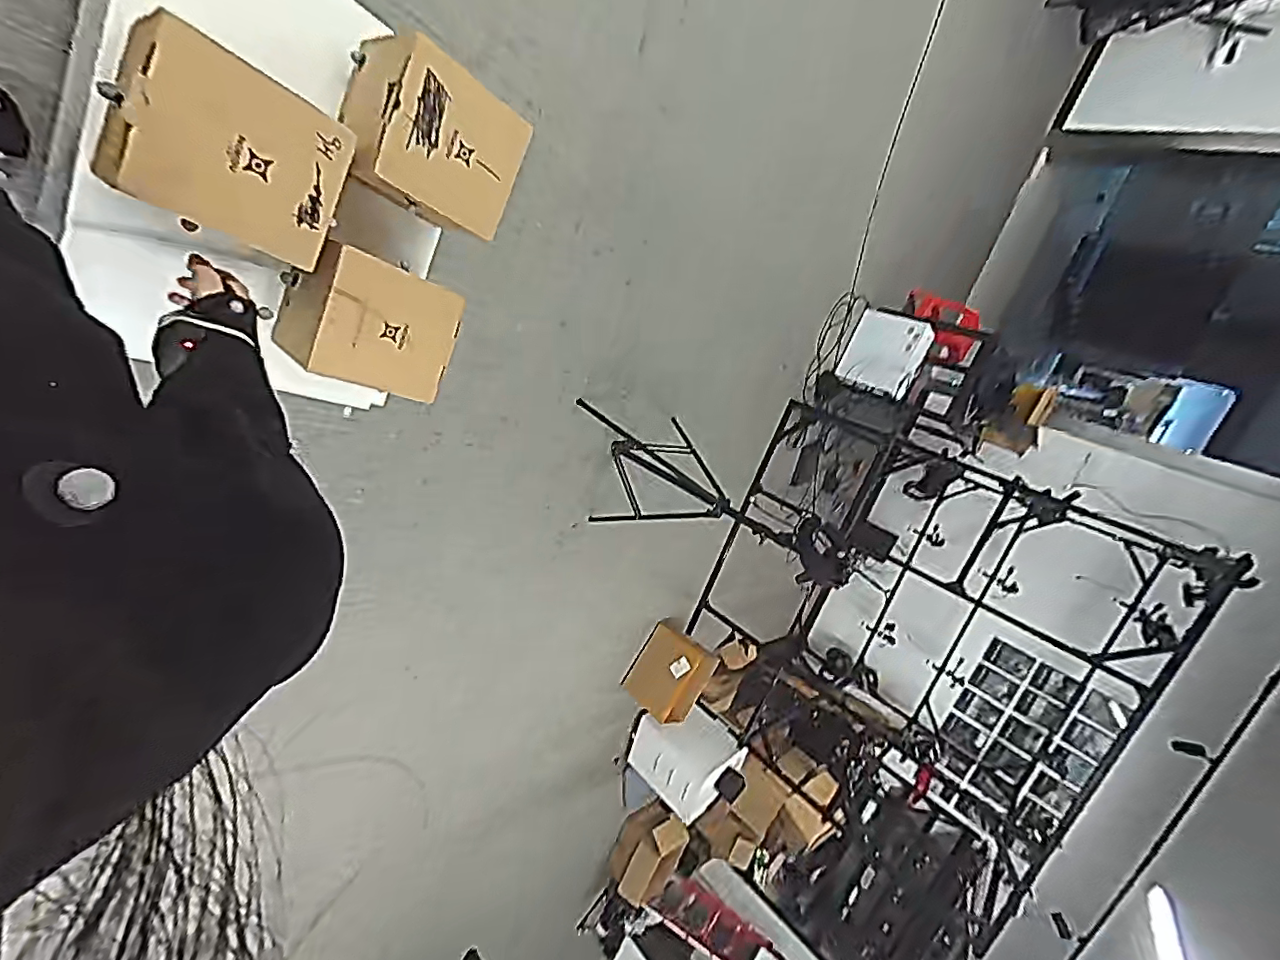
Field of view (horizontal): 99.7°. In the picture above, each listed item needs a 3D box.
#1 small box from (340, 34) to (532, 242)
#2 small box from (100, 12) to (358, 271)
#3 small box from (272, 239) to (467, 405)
[{"bbox_3d":[-0.288,-0.452,0.736,0.179,0.176,0.168,13,105,-53],"label":"small box"},{"bbox_3d":[-0.458,-0.359,0.600,0.179,0.176,0.168,15,103,-53],"label":"small box"},{"bbox_3d":[-0.388,-0.228,0.775,0.179,0.176,0.168,12,103,-51],"label":"small box"}]
